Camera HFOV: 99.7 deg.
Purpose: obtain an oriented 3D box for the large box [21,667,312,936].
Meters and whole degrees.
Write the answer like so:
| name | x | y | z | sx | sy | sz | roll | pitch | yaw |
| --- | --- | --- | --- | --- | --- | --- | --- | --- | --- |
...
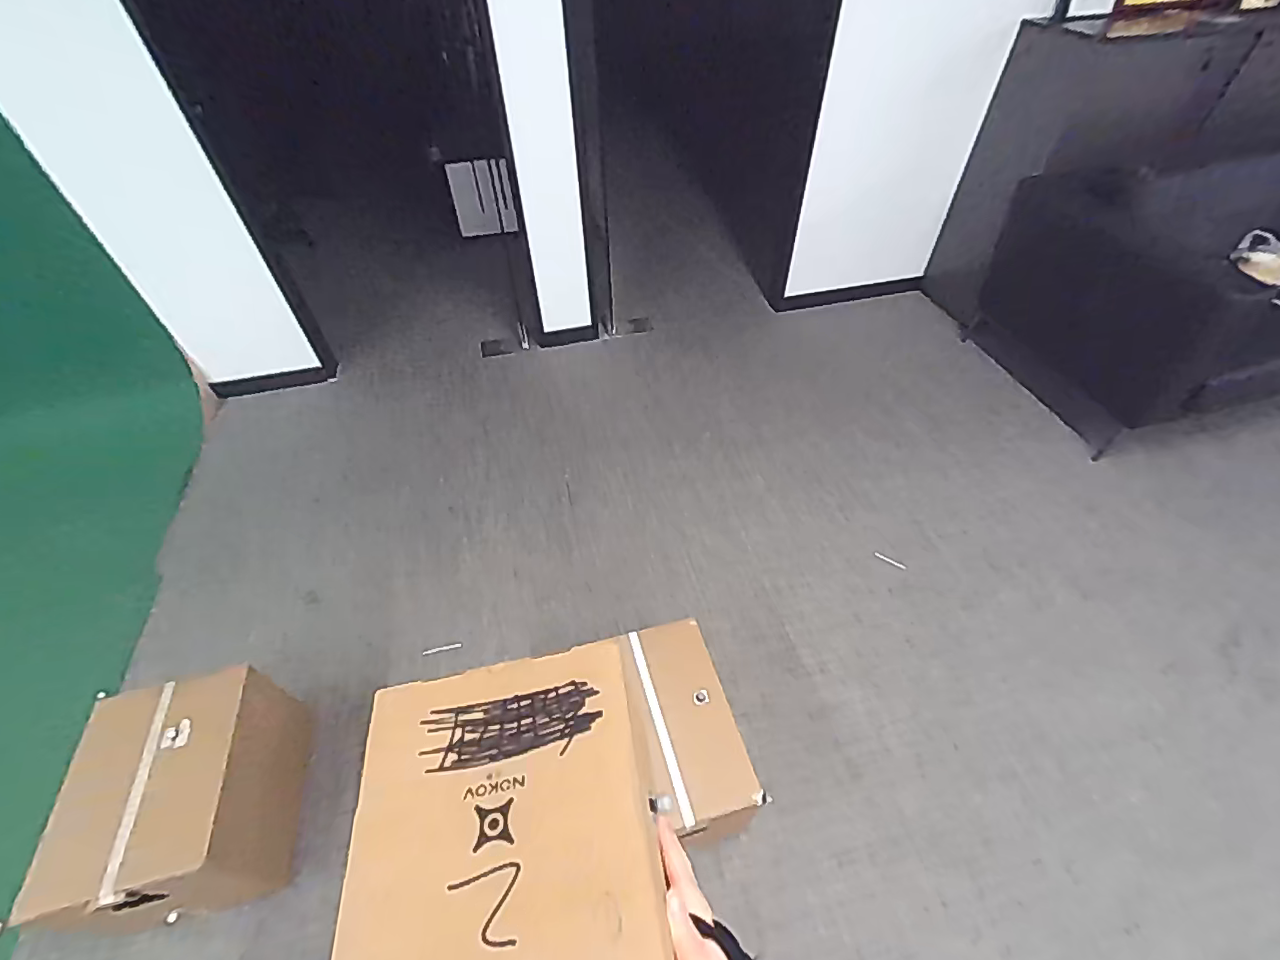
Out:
| name | x | y | z | sx | sy | sz | roll | pitch | yaw |
| --- | --- | --- | --- | --- | --- | --- | --- | --- | --- |
| large box | -0.979 | 0.702 | 1.197 | 0.320 | 0.320 | 0.408 | -13 | 48 | -9 |
